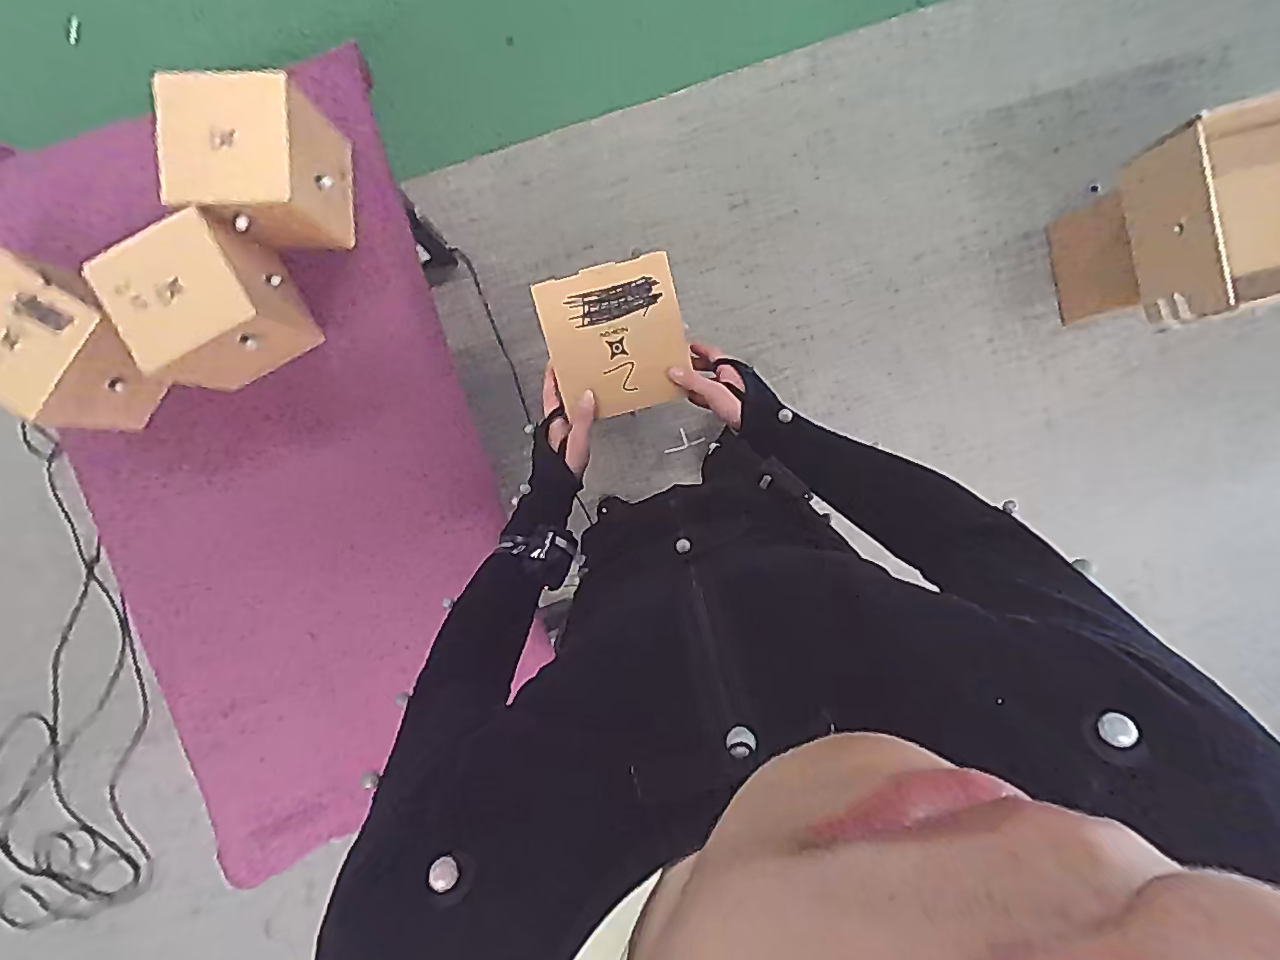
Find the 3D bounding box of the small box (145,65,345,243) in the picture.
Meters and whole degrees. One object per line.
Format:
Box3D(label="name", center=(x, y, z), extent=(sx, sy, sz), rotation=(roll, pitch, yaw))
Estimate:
Box3D(label="small box", center=(-0.547, -0.454, 0.778), extent=(0.179, 0.176, 0.168), rotation=(0, 94, 1))
